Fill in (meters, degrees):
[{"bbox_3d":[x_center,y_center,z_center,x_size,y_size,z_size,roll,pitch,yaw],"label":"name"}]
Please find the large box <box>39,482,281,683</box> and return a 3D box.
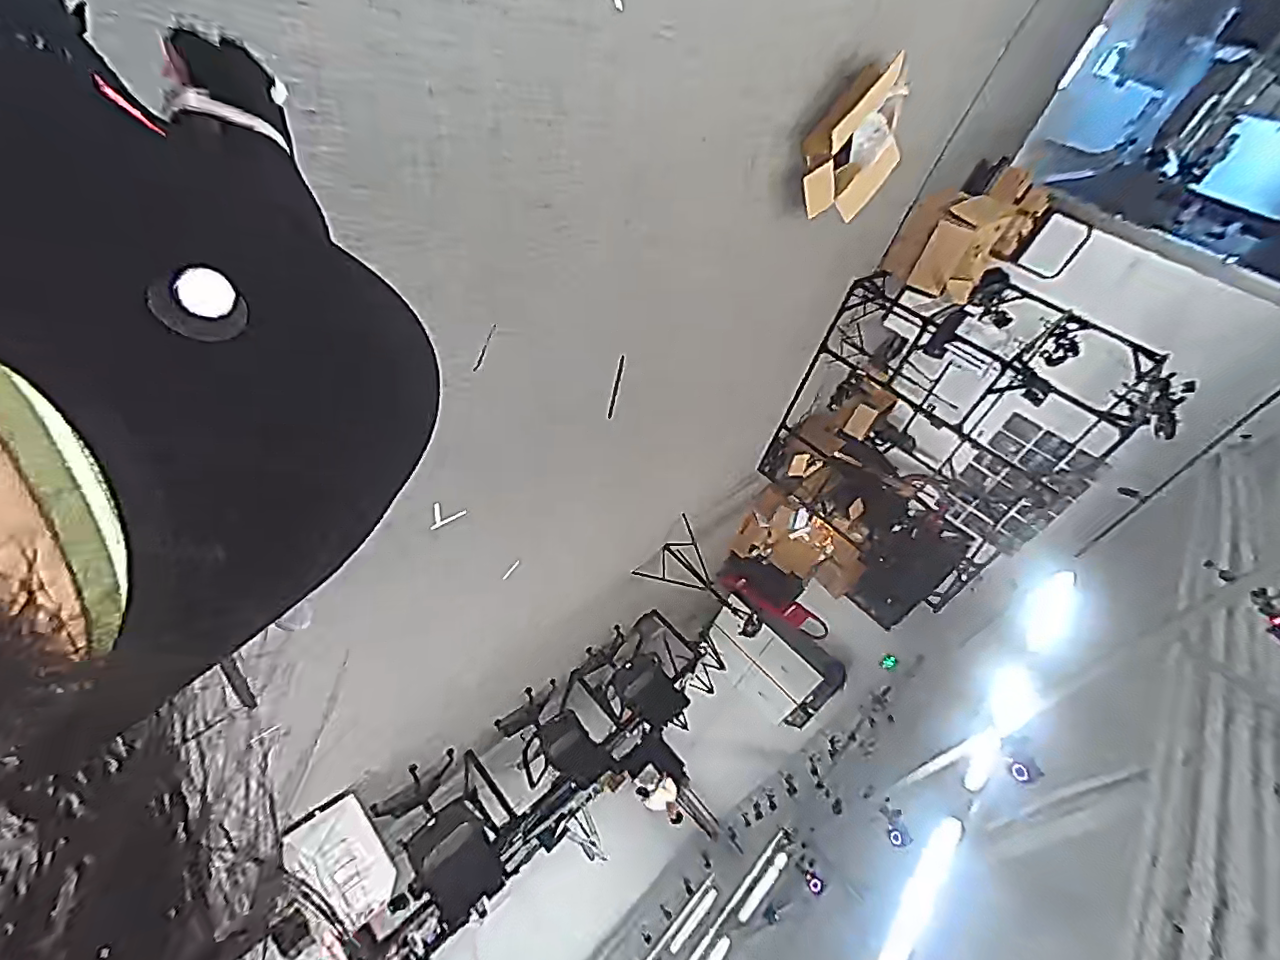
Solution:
[{"bbox_3d":[-1.281,0.258,1.483,0.408,0.320,0.320,-24,146,-45],"label":"large box"}]
